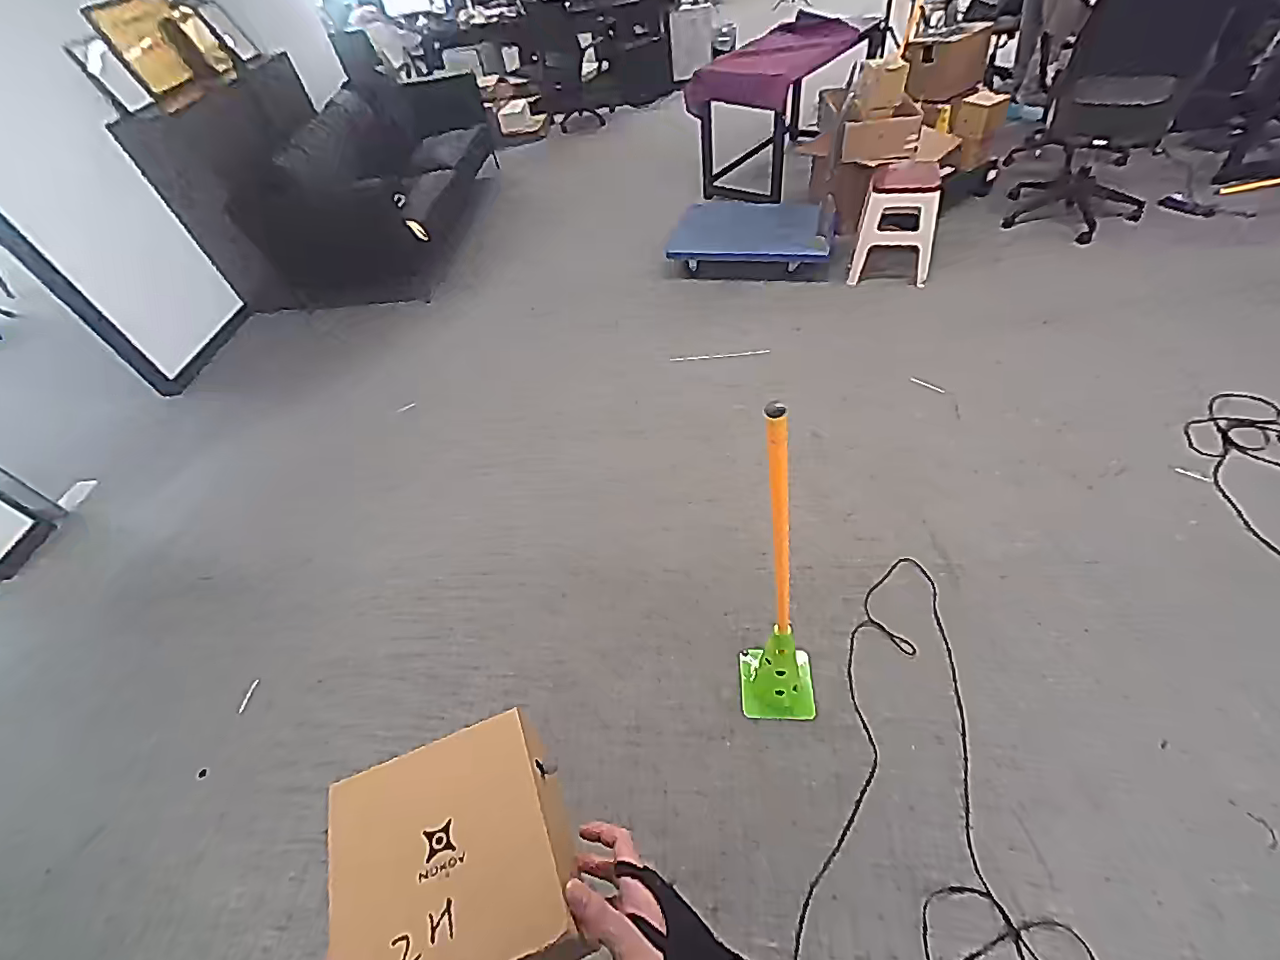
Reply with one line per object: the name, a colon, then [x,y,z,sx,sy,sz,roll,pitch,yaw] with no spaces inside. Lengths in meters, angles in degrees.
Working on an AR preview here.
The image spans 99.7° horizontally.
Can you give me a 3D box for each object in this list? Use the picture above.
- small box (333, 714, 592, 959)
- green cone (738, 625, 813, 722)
small box: [-0.151,0.351,0.486,0.168,0.176,0.179,-18,48,-12]
green cone: [0.369,0.487,1.439,0.202,0.368,0.200,-1,50,7]
